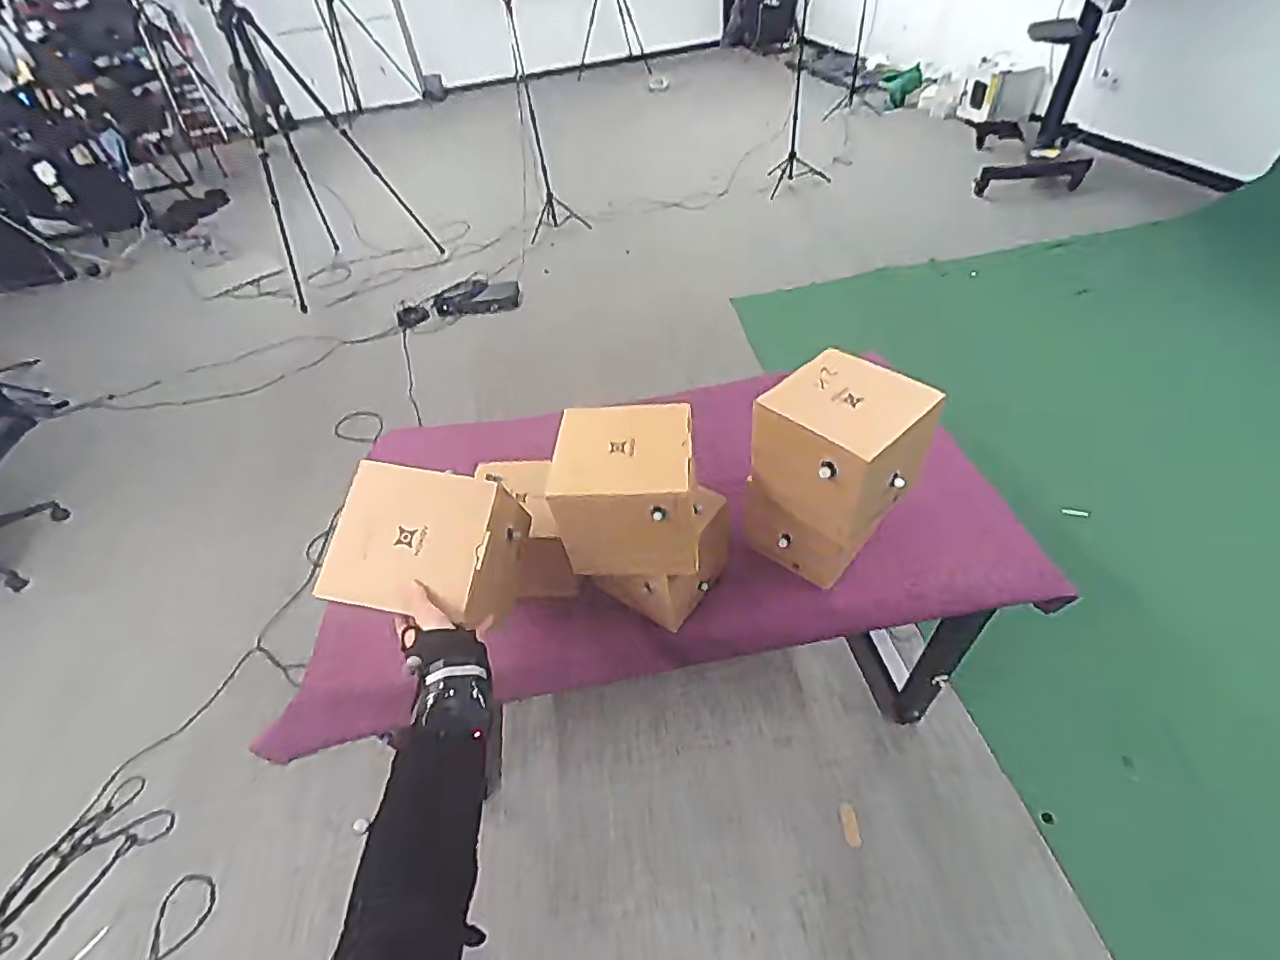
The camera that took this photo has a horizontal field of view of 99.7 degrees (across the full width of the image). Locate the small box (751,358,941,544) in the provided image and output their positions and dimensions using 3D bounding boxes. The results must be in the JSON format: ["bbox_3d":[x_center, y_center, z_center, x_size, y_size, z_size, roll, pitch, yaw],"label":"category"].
[{"bbox_3d":[0.275,-0.036,0.754,0.168,0.176,0.179,-34,49,-24],"label":"small box"}]

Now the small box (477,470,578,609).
[{"bbox_3d":[-0.199,0.104,0.928,0.179,0.176,0.168,6,48,8],"label":"small box"}]

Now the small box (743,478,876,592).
[{"bbox_3d":[0.289,0.052,0.898,0.168,0.176,0.179,30,57,33],"label":"small box"}]

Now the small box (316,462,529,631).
[{"bbox_3d":[-0.255,0.094,0.686,0.179,0.176,0.168,9,72,5],"label":"small box"}]

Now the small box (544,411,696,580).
[{"bbox_3d":[-0.015,0.025,0.741,0.179,0.176,0.168,-2,46,6],"label":"small box"}]
